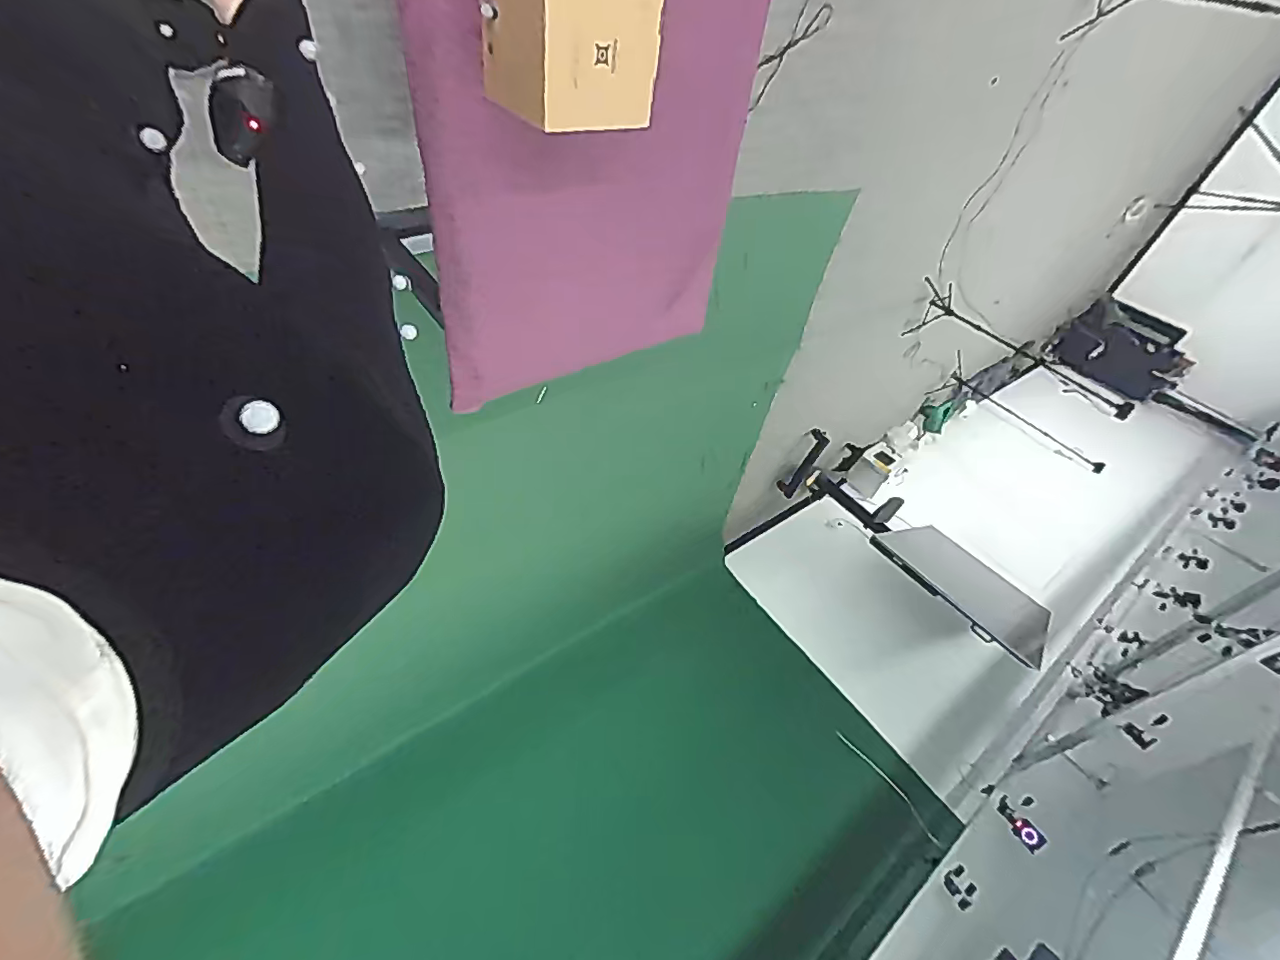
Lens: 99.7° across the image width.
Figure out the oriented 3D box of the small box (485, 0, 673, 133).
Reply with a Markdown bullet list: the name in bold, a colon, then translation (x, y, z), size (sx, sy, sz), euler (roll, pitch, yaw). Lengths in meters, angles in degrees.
- **small box**: translation (-0.084, -0.576, 0.709), size (0.179, 0.176, 0.168), euler (-24, 145, -30)
